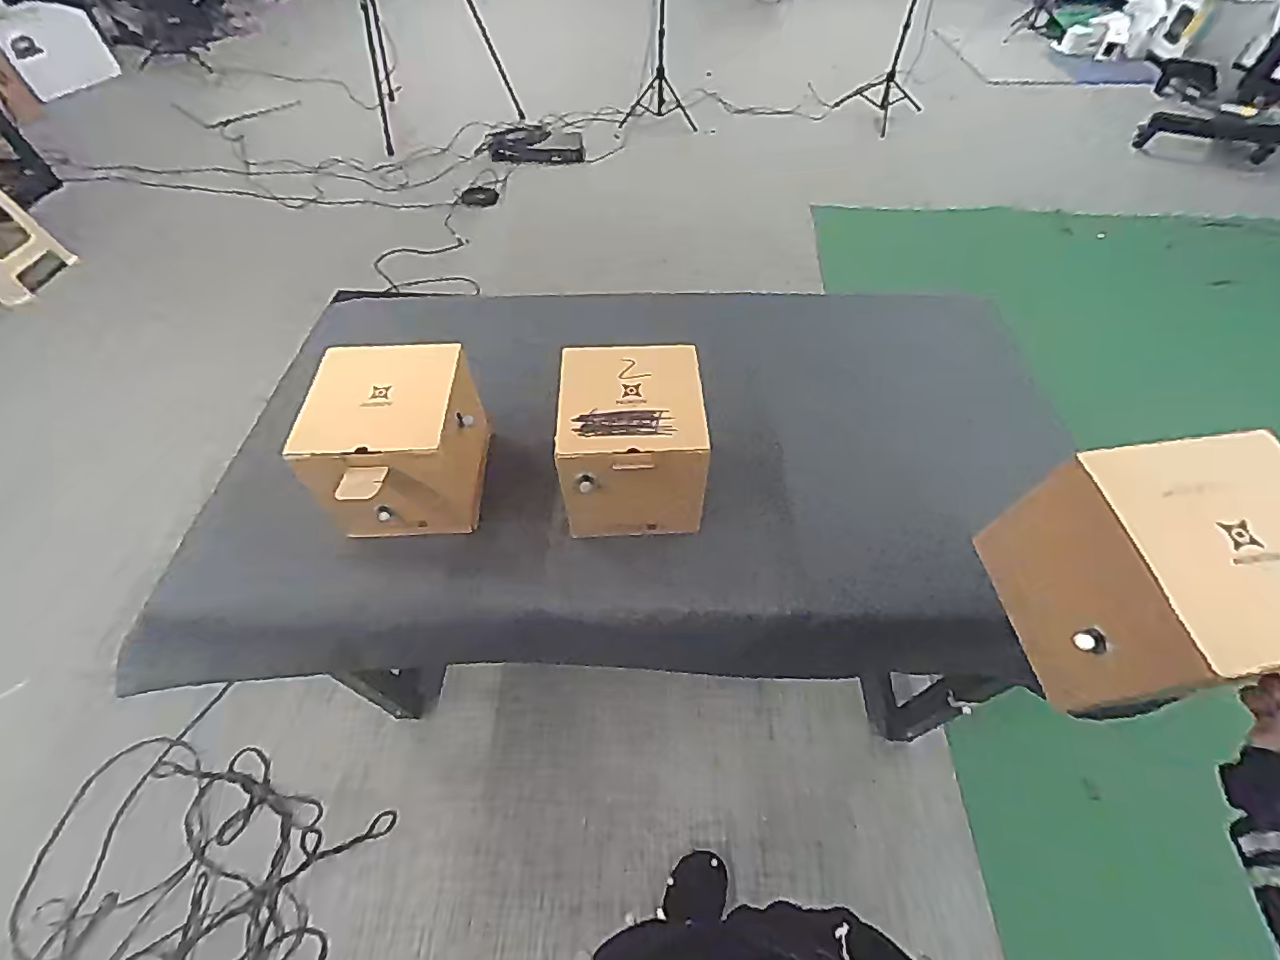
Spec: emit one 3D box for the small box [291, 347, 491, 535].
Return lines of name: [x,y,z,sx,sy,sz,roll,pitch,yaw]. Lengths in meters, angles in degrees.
small box: [-0.293,-0.048,0.685,0.168,0.176,0.179,-2,54,-2]

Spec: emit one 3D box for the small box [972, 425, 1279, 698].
small box: [0.435,0.079,0.463,0.168,0.176,0.179,-7,58,-4]
